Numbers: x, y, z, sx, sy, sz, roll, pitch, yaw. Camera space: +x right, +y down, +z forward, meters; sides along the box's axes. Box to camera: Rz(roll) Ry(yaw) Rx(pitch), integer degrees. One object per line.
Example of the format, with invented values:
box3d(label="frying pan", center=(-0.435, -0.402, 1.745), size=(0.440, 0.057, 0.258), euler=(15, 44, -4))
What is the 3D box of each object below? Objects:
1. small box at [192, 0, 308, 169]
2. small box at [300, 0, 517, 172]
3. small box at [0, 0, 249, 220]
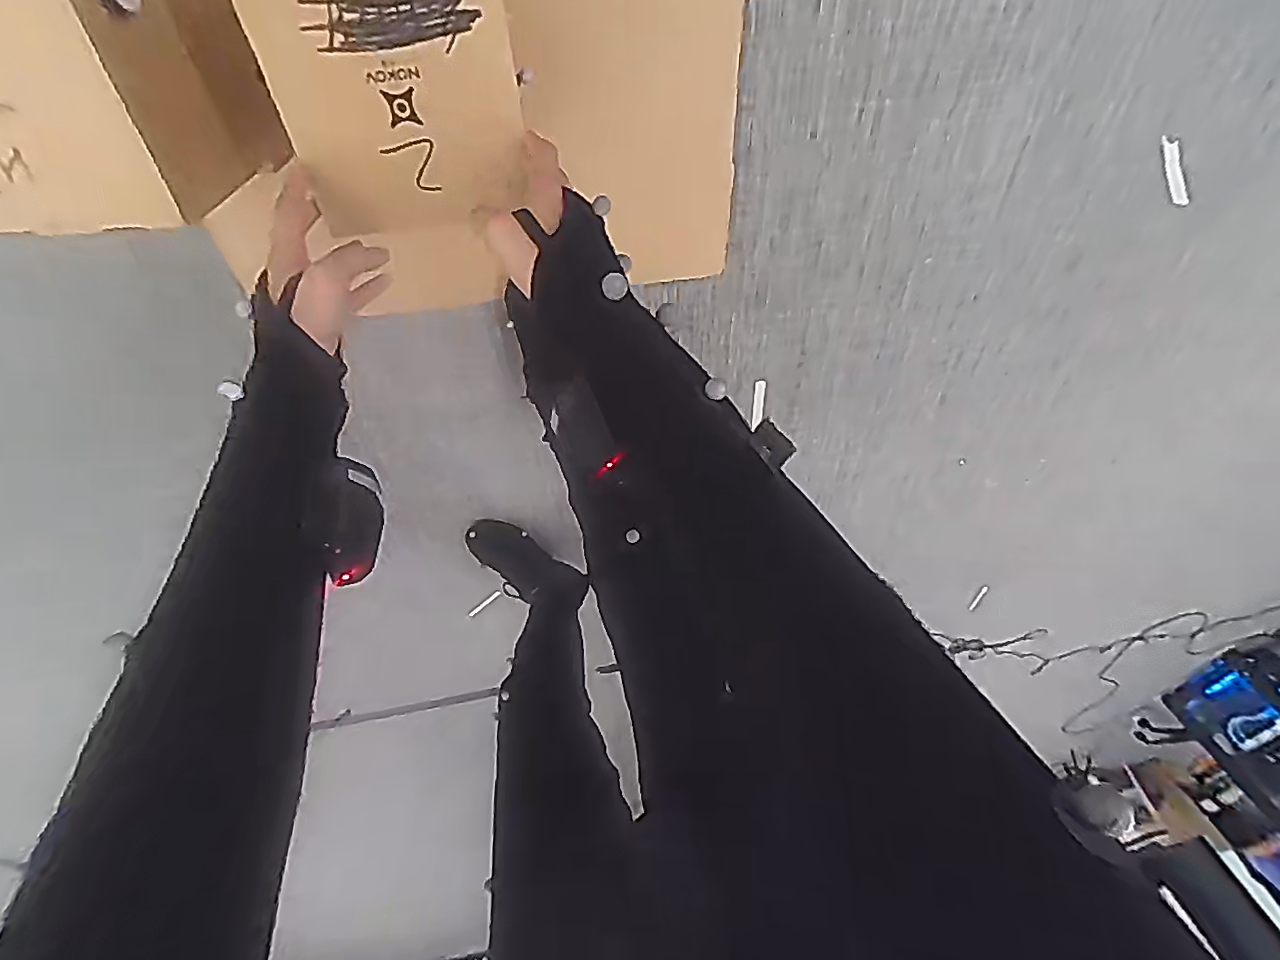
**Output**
box3d(label="small box", center=(-0.448, -0.413, 0.510), size=(0.168, 0.176, 0.179), euler=(-7, 135, -8))
box3d(label="small box", center=(-0.222, -0.431, 0.550), size=(0.168, 0.176, 0.179), euler=(-6, 133, -8))
box3d(label="small box", center=(-0.428, -0.305, 0.386), size=(0.168, 0.176, 0.179), euler=(-6, 134, -8))
